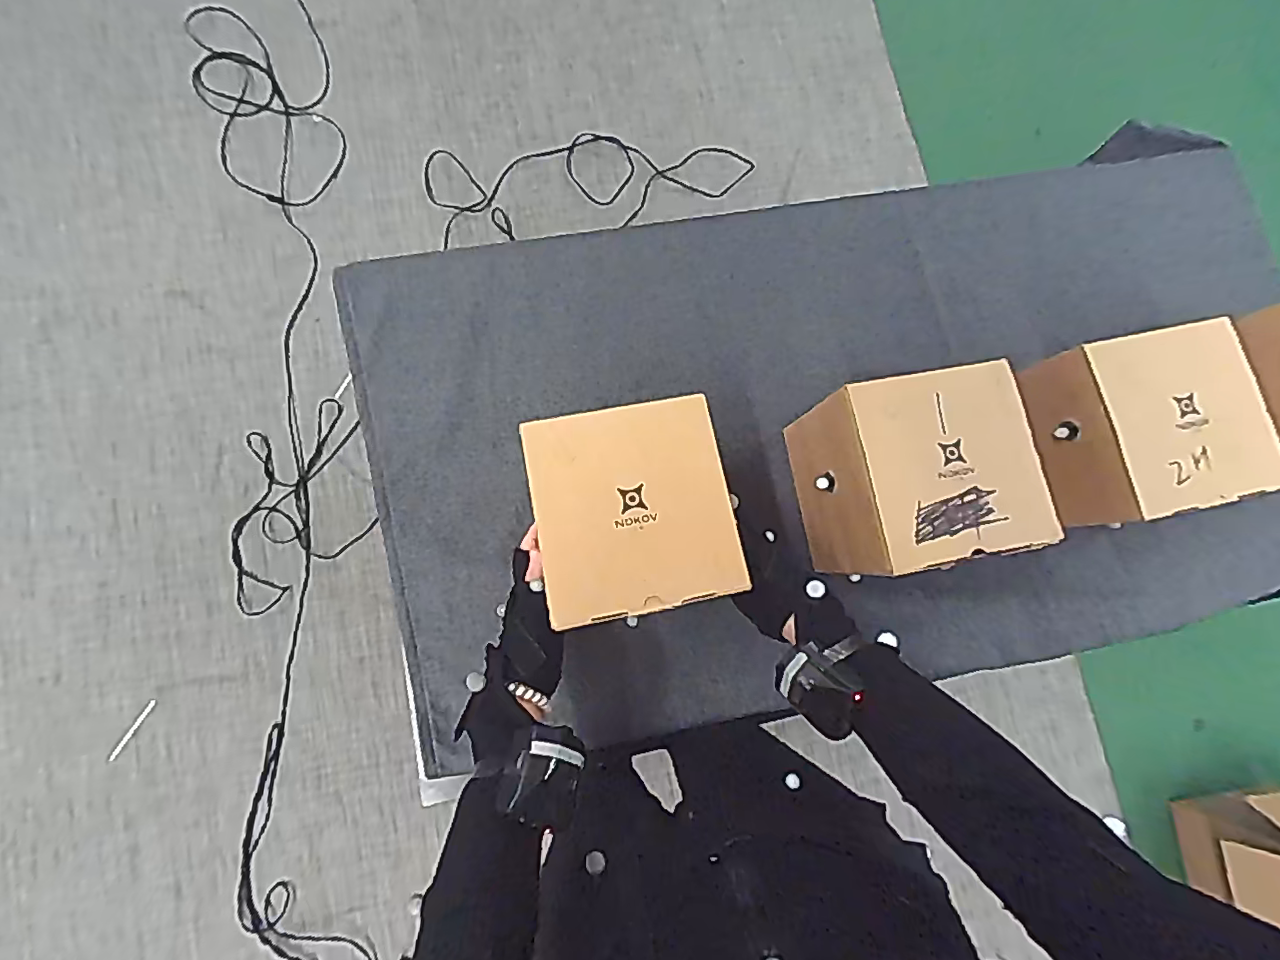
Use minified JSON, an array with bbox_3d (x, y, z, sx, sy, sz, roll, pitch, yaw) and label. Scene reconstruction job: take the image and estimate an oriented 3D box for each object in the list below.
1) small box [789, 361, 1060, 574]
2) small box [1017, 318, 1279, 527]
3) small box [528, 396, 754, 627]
[{"bbox_3d":[0.274,-0.003,0.563,0.168,0.176,0.179,-9,81,-7],"label":"small box"},{"bbox_3d":[0.511,-0.049,0.590,0.168,0.176,0.179,-11,82,-6],"label":"small box"},{"bbox_3d":[-0.009,0.039,0.528,0.168,0.176,0.179,-11,79,-8],"label":"small box"}]
